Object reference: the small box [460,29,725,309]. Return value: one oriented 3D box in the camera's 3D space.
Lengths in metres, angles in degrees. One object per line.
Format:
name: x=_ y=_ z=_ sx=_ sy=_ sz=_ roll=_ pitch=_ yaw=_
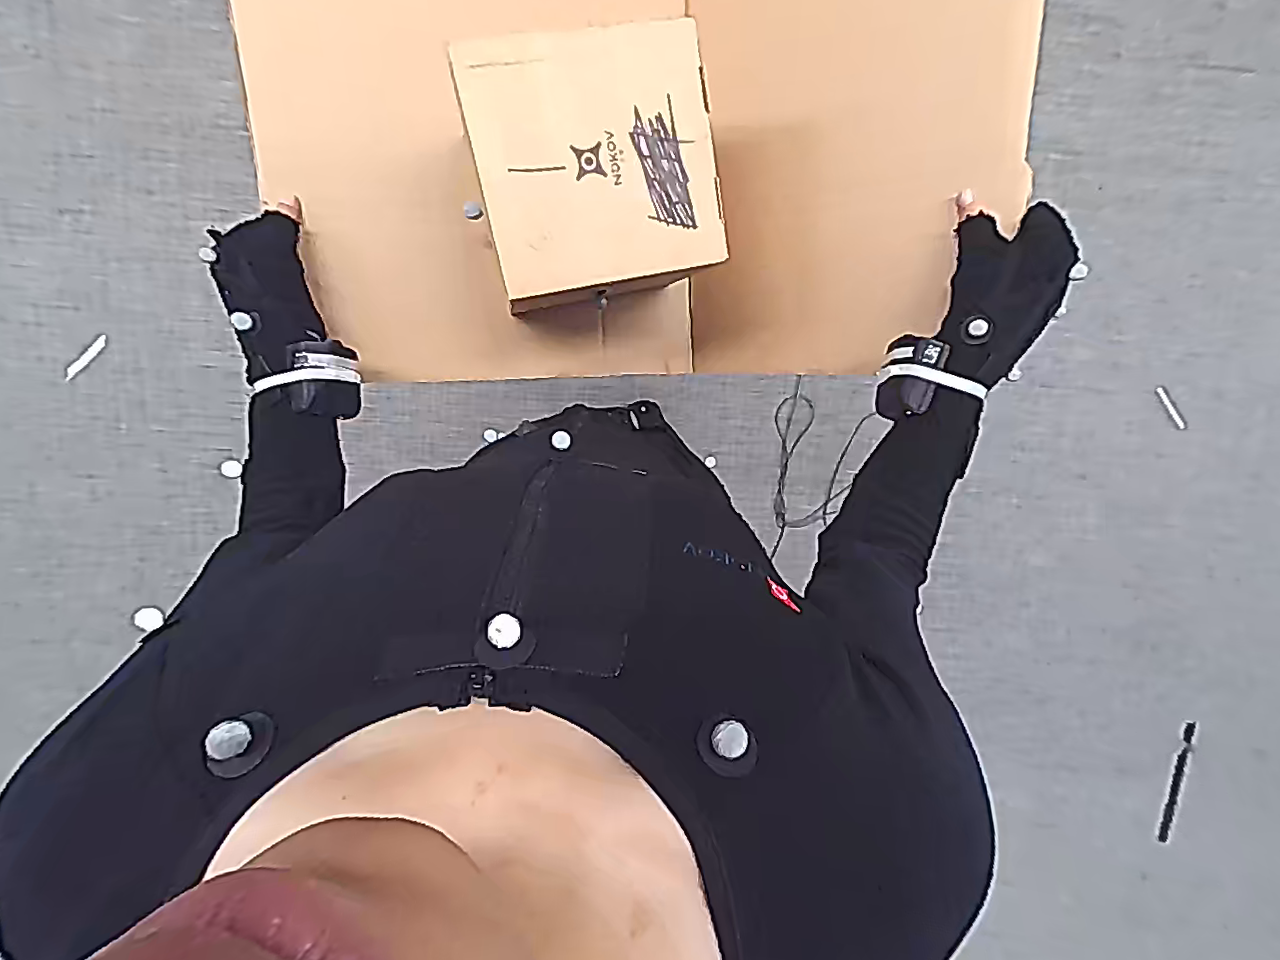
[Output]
small box: x=-0.045 y=-0.251 z=0.475 sx=0.179 sy=0.176 sz=0.168 roll=-13 pitch=106 yaw=-9
